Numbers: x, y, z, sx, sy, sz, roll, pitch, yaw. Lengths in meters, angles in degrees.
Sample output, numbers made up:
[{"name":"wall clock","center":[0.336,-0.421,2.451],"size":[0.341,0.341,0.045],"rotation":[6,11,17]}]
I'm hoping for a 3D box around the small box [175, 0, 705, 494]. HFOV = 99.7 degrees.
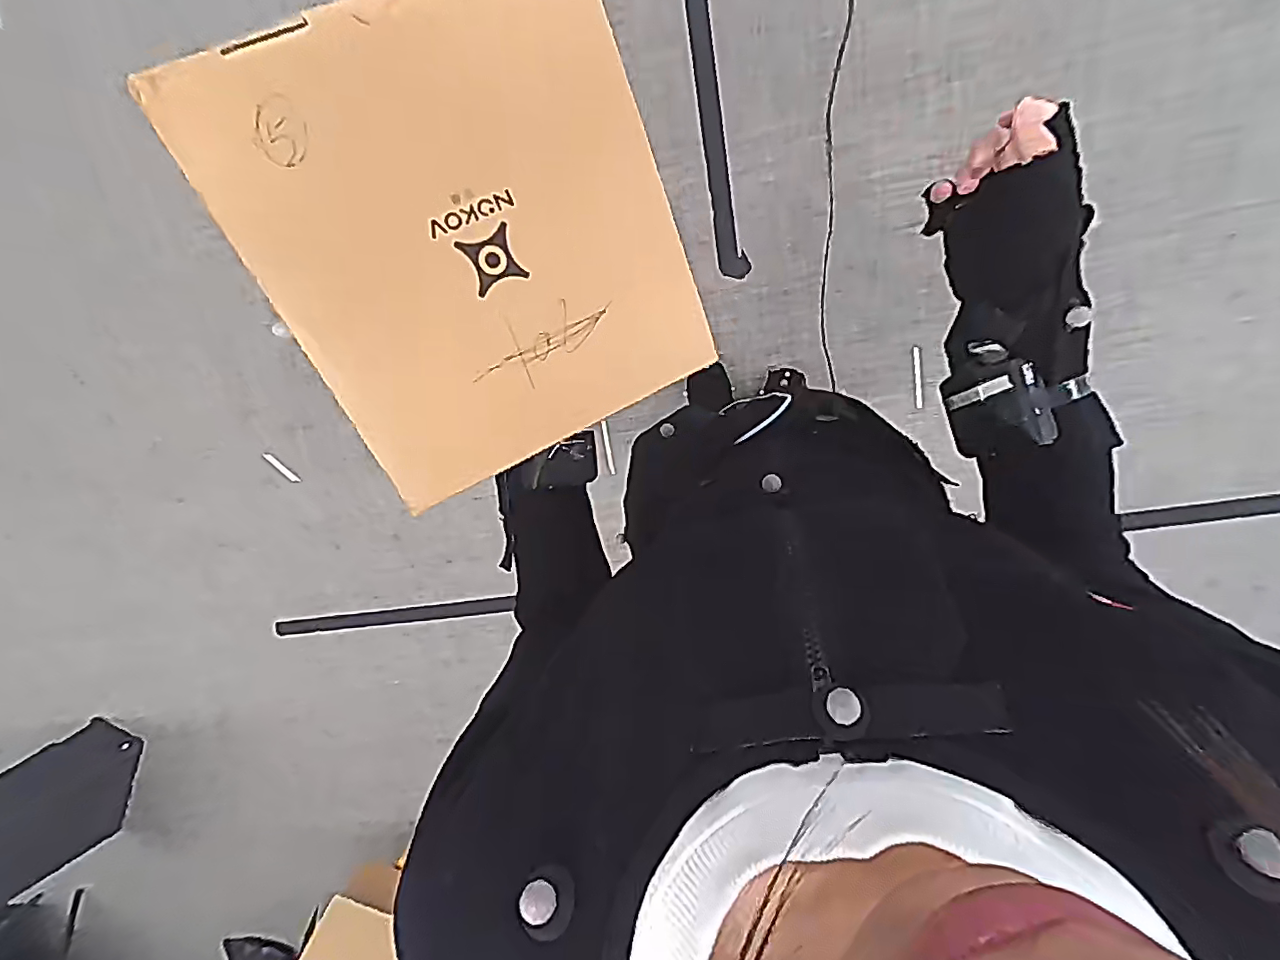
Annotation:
[{"name":"small box","center":[-0.093,-0.123,0.309],"size":[0.168,0.176,0.179],"rotation":[-28,115,-10]}]
